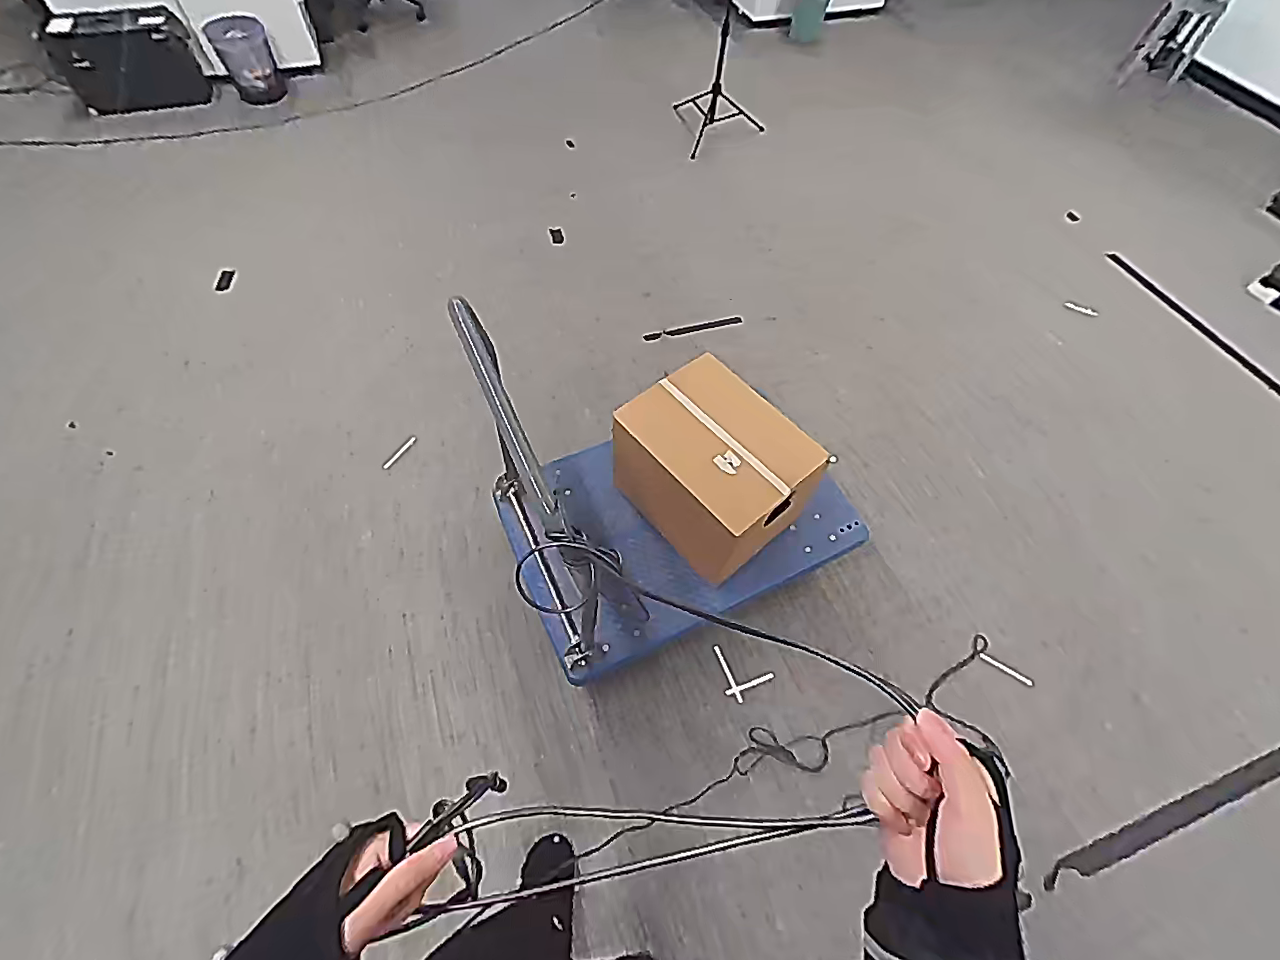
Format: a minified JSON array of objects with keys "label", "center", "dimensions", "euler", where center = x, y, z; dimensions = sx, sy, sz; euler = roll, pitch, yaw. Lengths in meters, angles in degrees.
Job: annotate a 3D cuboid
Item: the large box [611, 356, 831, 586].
[{"label":"large box","center":[0.170,-0.020,1.335],"dimensions":[0.320,0.320,0.408],"euler":[-36,68,-21]}]
